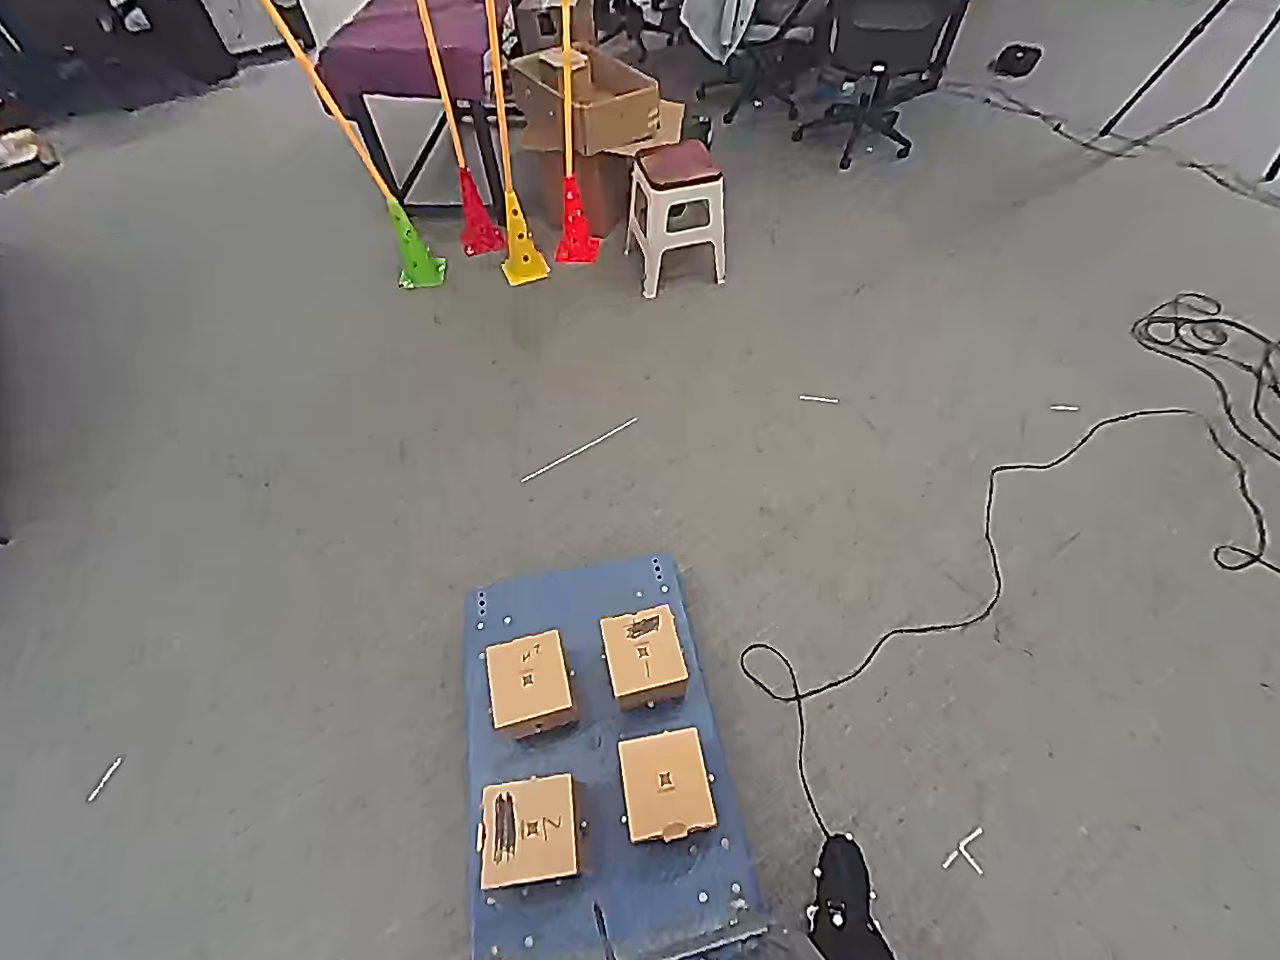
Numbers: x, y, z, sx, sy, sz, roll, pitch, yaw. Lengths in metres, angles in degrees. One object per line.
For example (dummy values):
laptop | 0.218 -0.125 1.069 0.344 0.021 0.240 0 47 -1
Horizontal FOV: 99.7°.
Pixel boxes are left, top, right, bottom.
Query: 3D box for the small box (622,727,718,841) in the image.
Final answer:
small box | 0.056 0.634 1.124 0.168 0.176 0.179 -9 57 -4

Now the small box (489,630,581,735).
small box | -0.237 0.470 1.239 0.168 0.176 0.179 -13 57 -7

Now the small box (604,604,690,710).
small box | 0.014 0.417 1.266 0.168 0.176 0.179 -12 58 -5
